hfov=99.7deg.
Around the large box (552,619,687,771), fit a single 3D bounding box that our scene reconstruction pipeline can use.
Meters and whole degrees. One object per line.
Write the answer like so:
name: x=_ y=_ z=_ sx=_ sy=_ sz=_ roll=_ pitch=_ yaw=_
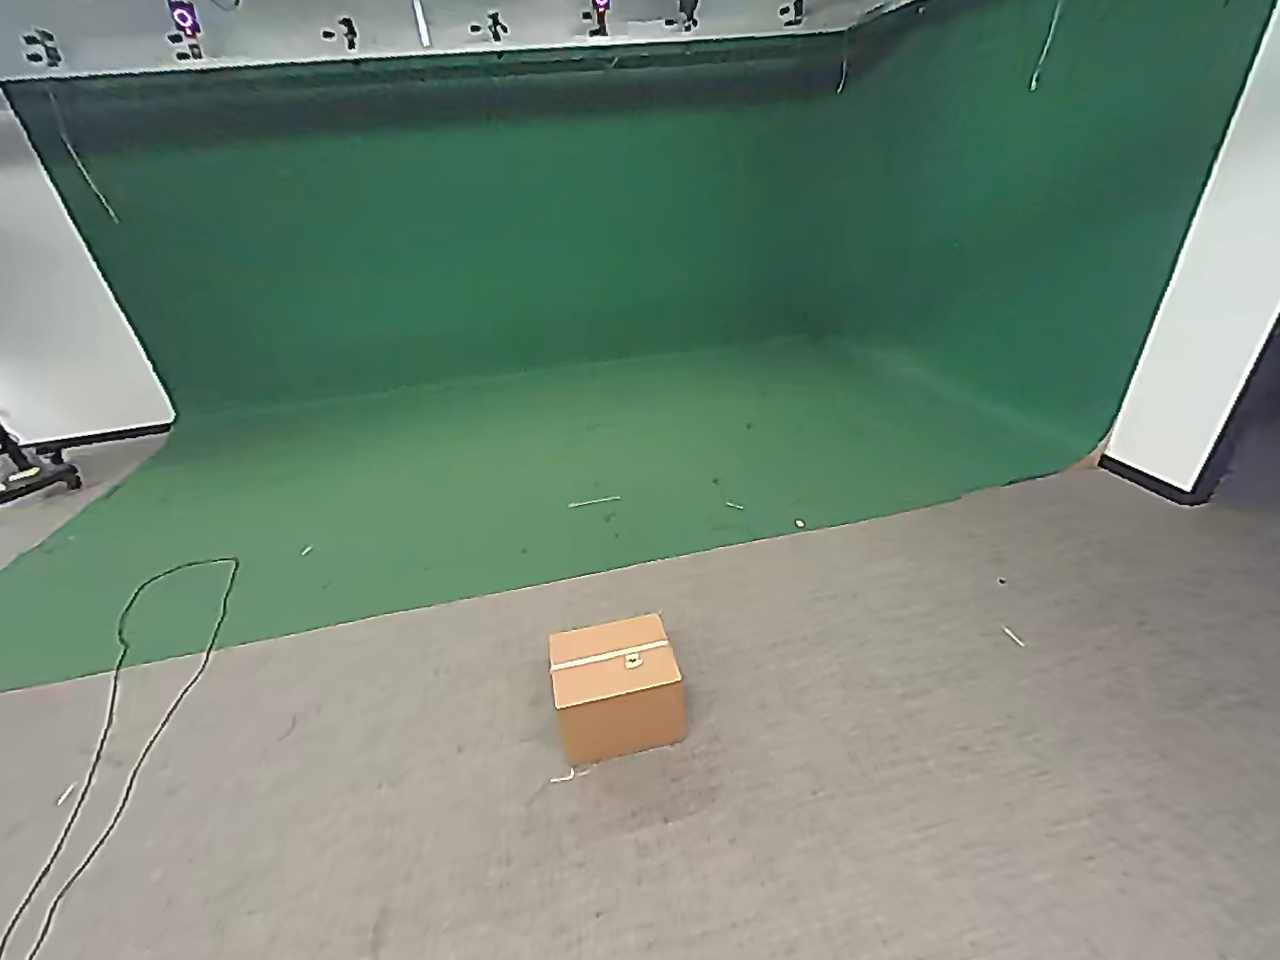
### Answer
large box: x=-0.073 y=0.736 z=1.874 sx=0.408 sy=0.320 sz=0.320 roll=-10 pitch=30 yaw=-8
